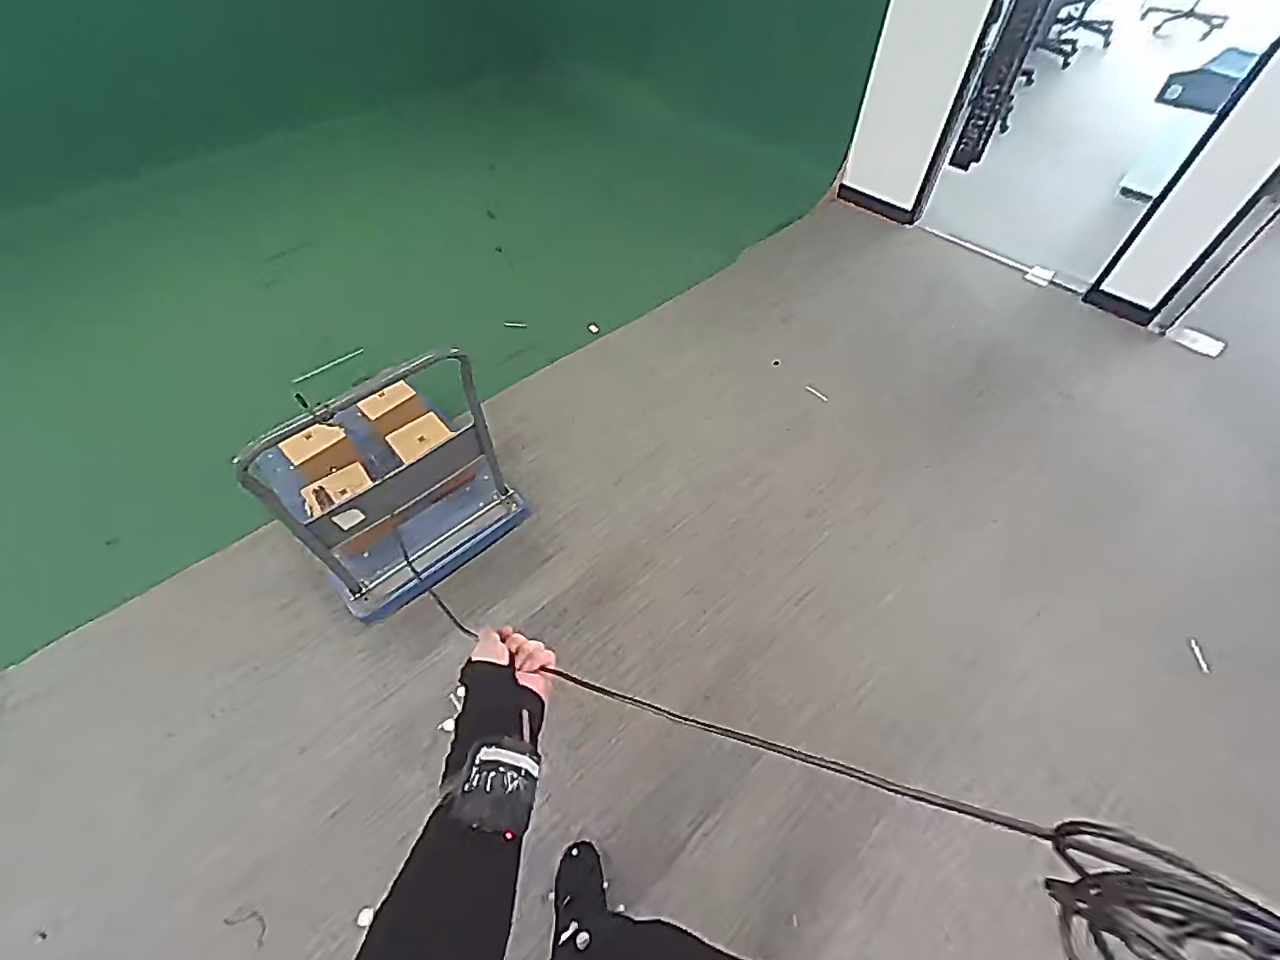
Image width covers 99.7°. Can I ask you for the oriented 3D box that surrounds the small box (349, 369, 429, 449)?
[{"bbox_3d":[-0.838,-0.236,1.834,0.179,0.176,0.168,38,64,24],"label":"small box"}]

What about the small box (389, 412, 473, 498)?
[{"bbox_3d":[-0.657,-0.075,1.714,0.168,0.176,0.179,-35,62,-23],"label":"small box"}]

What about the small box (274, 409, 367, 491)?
[{"bbox_3d":[-1.012,-0.088,1.728,0.179,0.176,0.168,38,62,25],"label":"small box"}]
